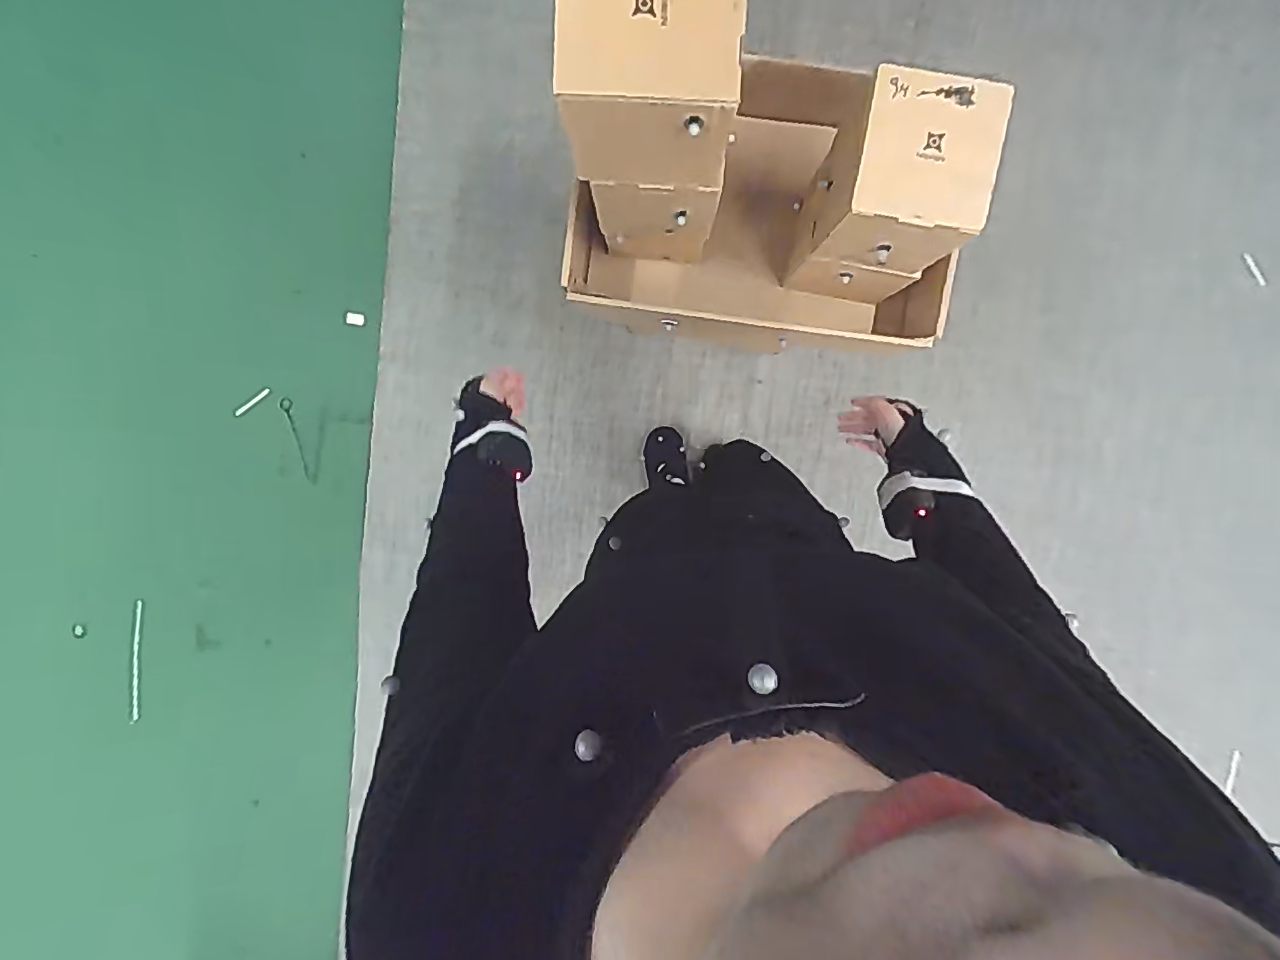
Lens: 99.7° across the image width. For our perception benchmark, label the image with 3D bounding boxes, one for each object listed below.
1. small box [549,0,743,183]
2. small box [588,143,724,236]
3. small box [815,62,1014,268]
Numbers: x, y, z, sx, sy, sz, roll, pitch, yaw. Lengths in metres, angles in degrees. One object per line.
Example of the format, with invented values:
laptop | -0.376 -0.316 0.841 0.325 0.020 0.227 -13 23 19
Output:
small box | 0.008 -0.435 0.569 0.179 0.176 0.168 2 95 0
small box | 0.025 -0.448 0.730 0.168 0.176 0.179 4 95 0
small box | 0.348 -0.402 0.724 0.168 0.176 0.179 10 96 0
